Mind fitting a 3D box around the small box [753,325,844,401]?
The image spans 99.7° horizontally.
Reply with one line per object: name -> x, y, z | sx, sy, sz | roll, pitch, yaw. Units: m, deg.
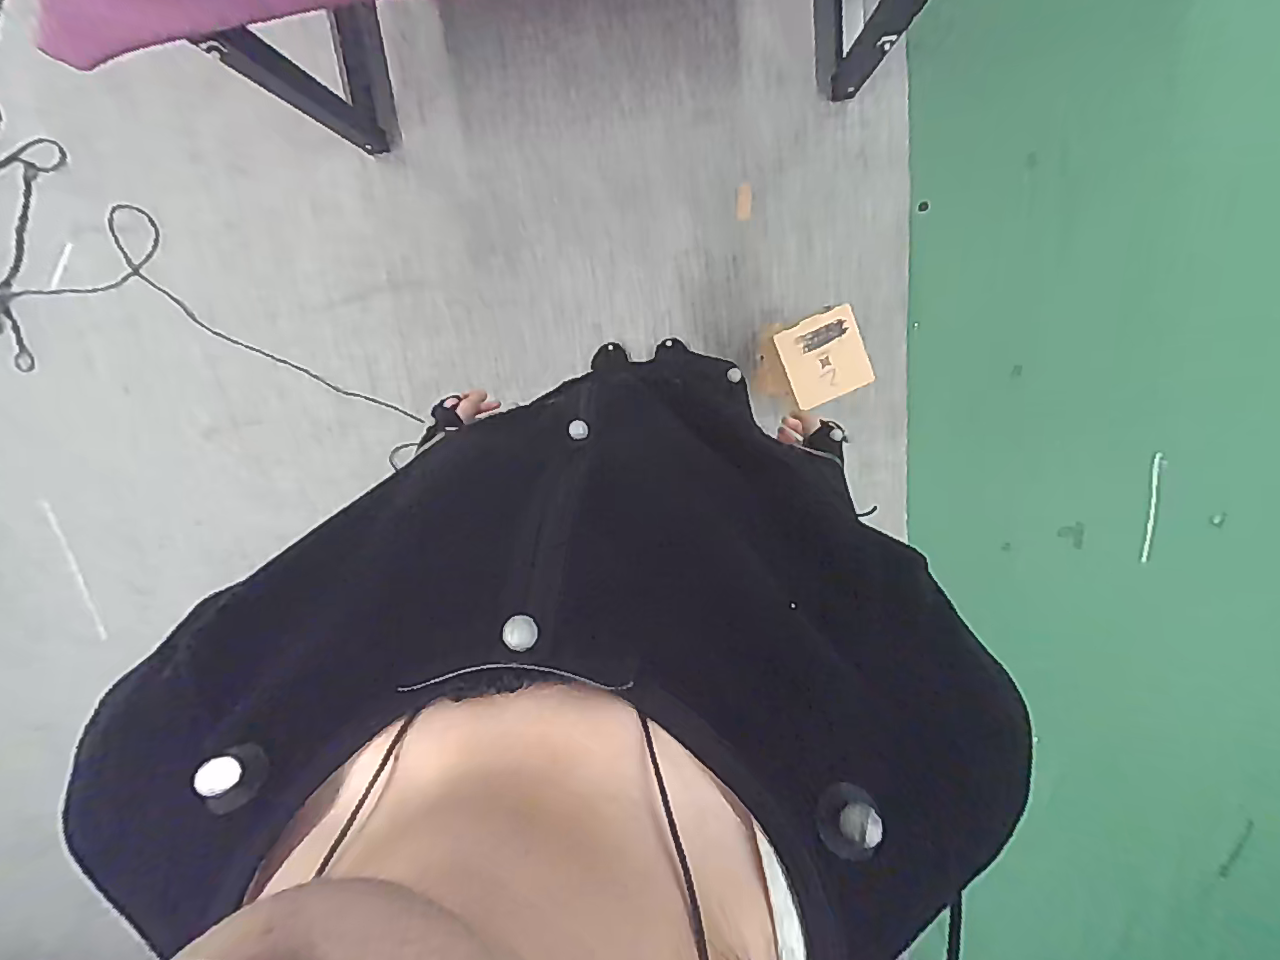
small box -> 0.388, -0.294, 1.354 | 0.179, 0.176, 0.168 | 4, 105, 1
